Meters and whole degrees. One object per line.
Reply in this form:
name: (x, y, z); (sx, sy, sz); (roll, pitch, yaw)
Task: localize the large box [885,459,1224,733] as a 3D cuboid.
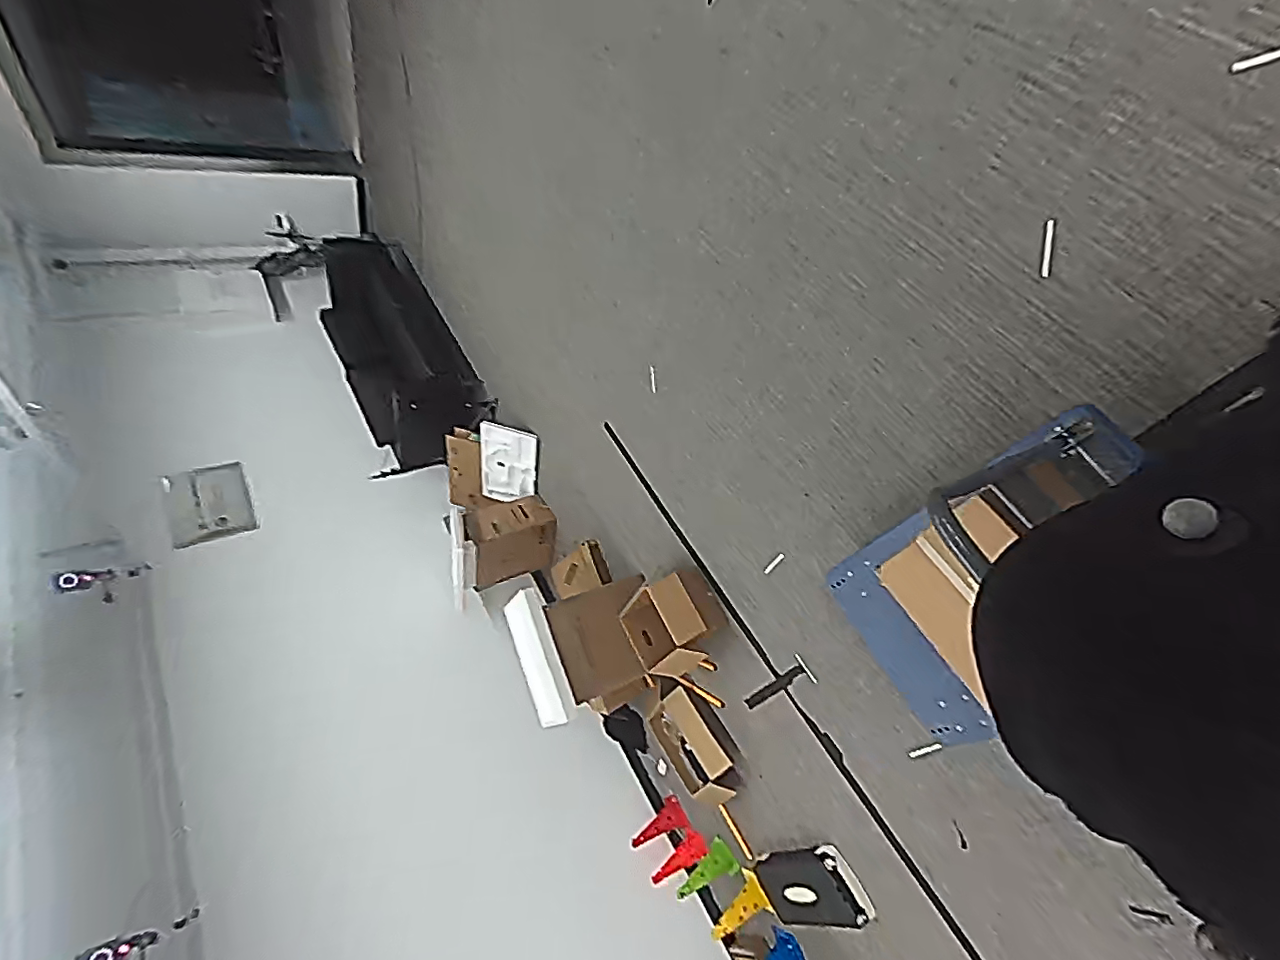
large box: (0.820, 0.225, 1.112); (0.408, 0.320, 0.320); (58, 144, 25)
